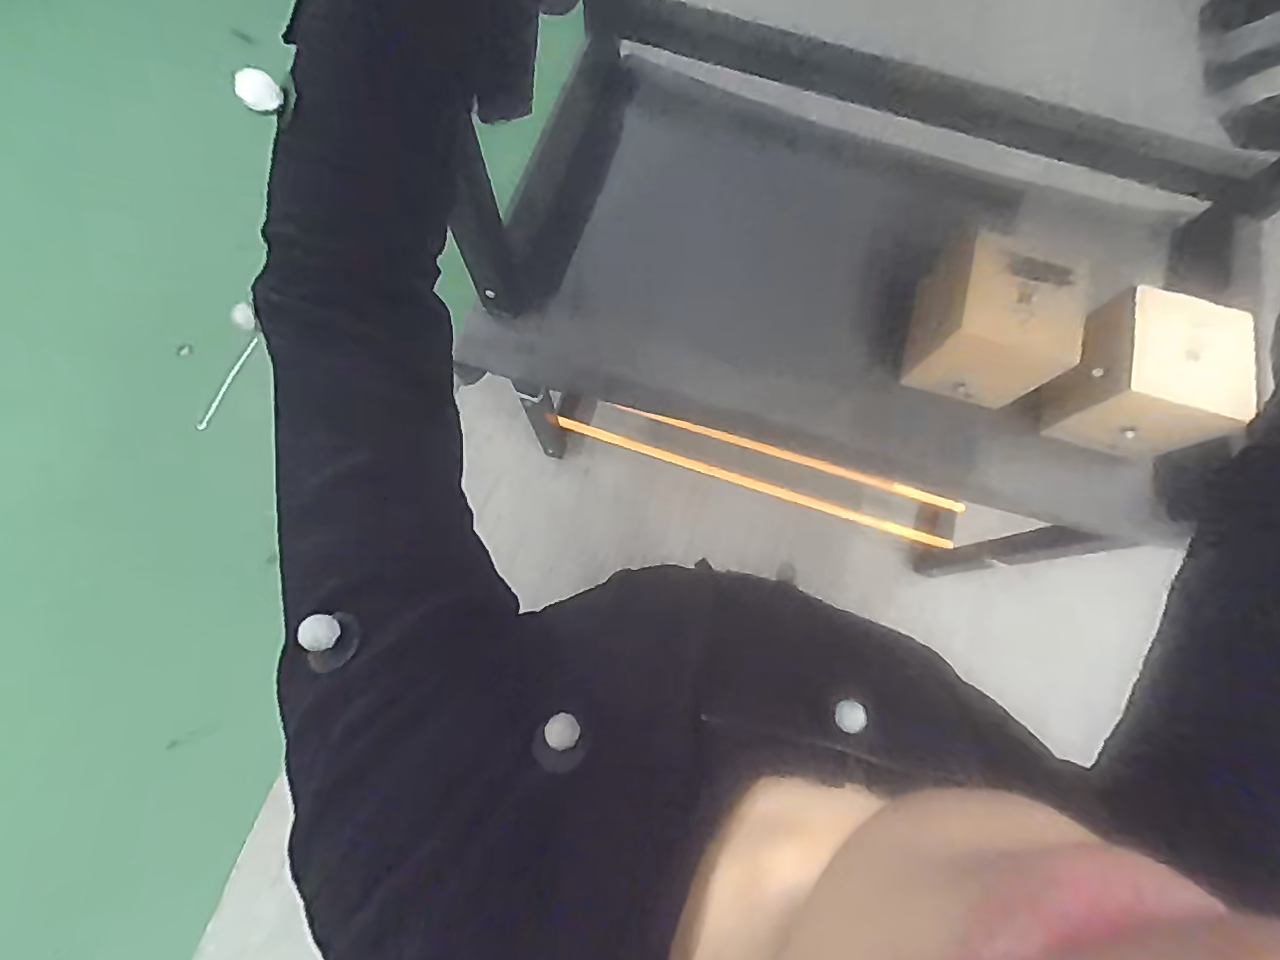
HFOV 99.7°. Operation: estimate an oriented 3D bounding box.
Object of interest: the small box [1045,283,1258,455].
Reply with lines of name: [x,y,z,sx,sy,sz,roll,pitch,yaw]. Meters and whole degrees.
small box: [0.749,-0.155,0.810,0.168,0.176,0.179,16,74,2]
